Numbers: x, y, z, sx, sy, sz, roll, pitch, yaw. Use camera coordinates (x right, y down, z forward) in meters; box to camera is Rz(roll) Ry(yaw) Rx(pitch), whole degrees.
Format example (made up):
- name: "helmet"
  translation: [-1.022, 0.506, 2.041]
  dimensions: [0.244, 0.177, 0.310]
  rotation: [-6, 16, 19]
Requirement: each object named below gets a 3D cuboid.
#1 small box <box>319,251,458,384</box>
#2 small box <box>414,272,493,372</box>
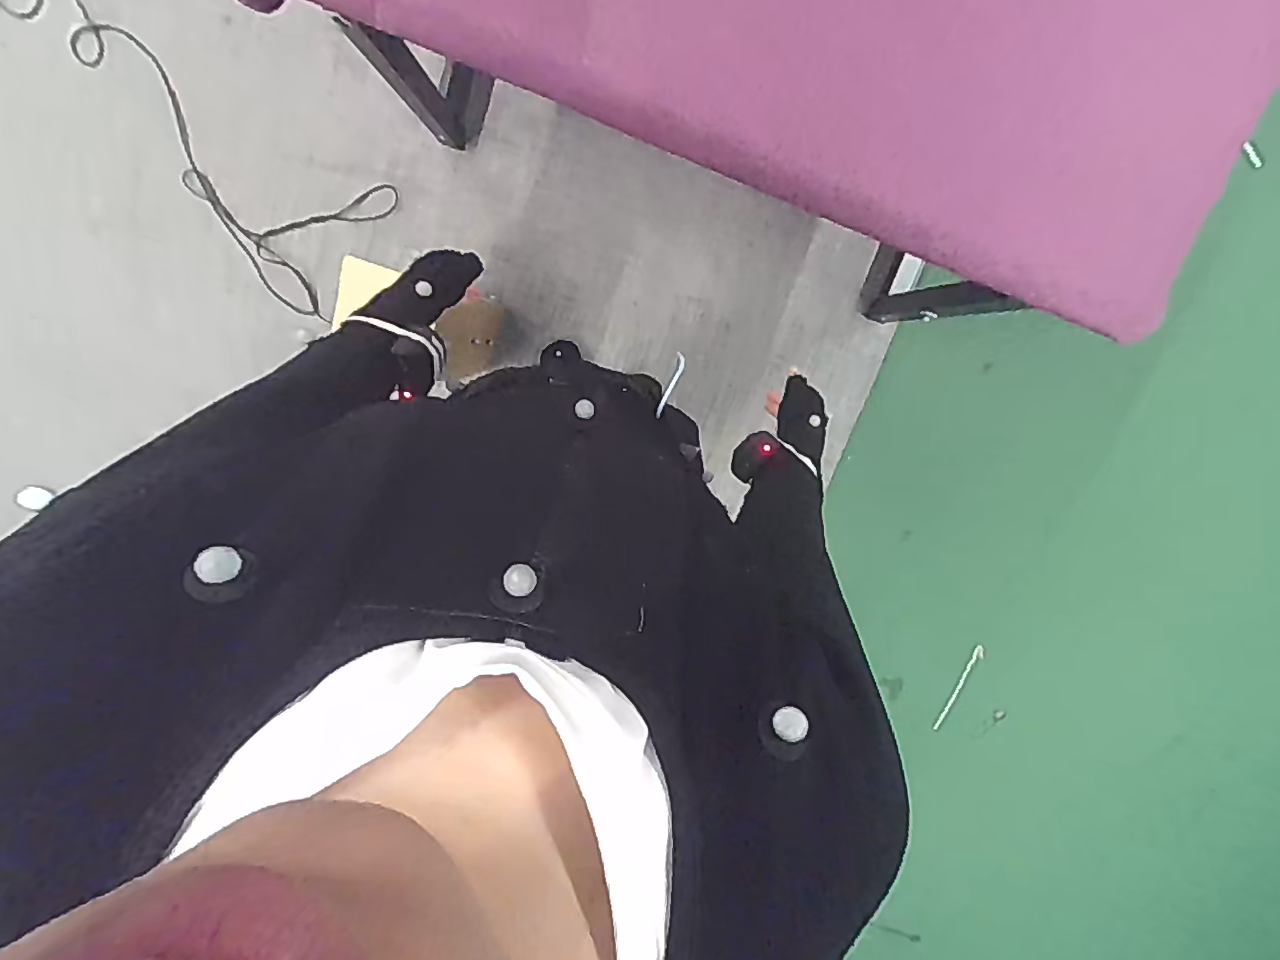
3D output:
- name: "small box"
  translation: [-0.444, -0.292, 0.982]
  dimensions: [0.168, 0.176, 0.179]
  rotation: [17, 105, -7]
- name: "small box"
  translation: [-0.465, -0.375, 1.299]
  dimensions: [0.168, 0.176, 0.179]
  rotation: [20, 103, -8]
